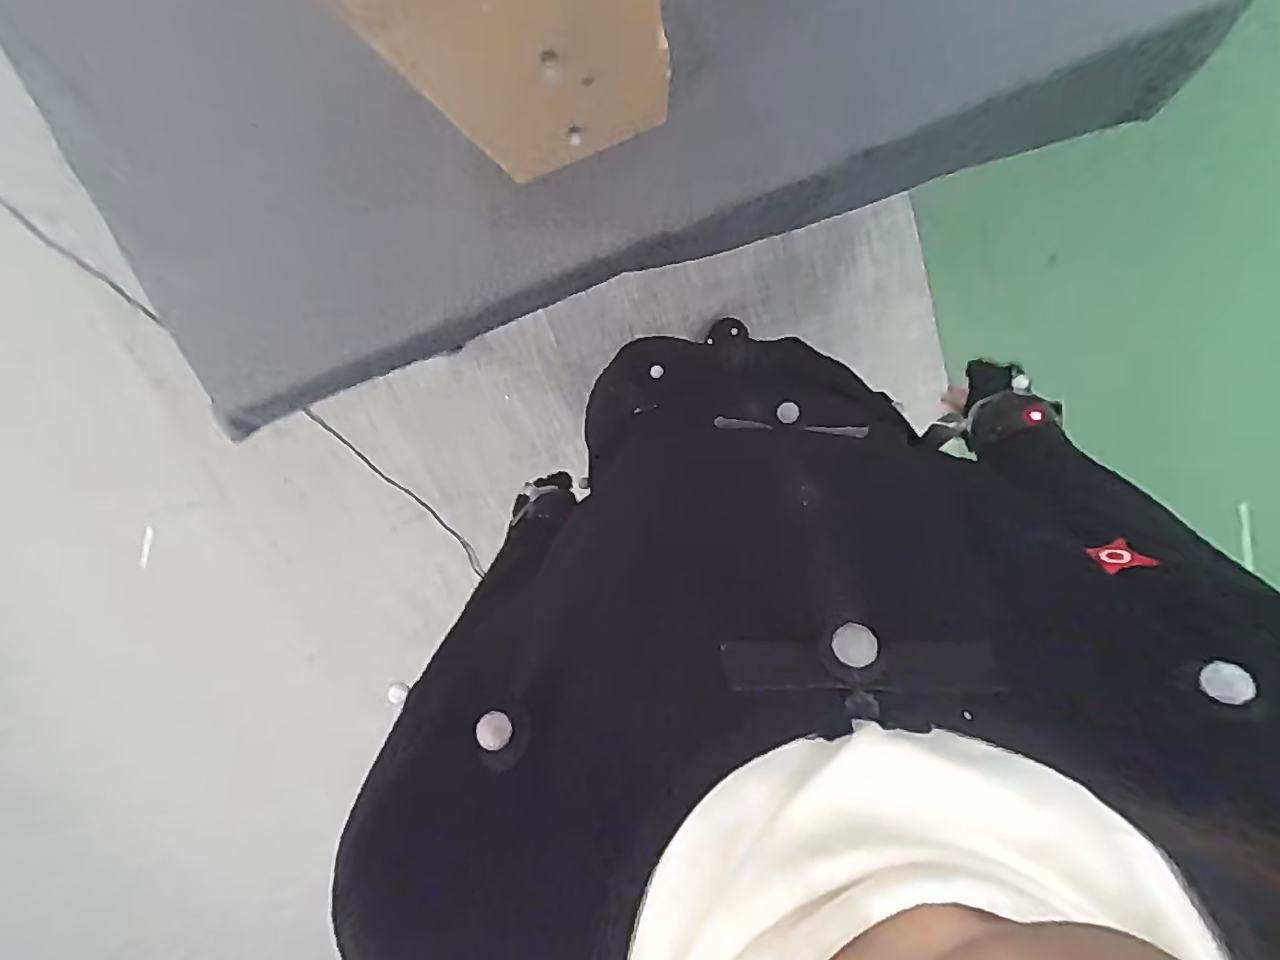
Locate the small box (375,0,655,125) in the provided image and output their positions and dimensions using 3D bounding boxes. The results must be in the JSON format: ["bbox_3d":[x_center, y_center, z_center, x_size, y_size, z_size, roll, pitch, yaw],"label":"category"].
[{"bbox_3d":[-0.092,-0.364,0.348,0.168,0.176,0.179,-20,105,8],"label":"small box"}]

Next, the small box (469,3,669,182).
[{"bbox_3d":[-0.082,-0.410,0.504,0.179,0.176,0.168,-19,104,8],"label":"small box"}]
